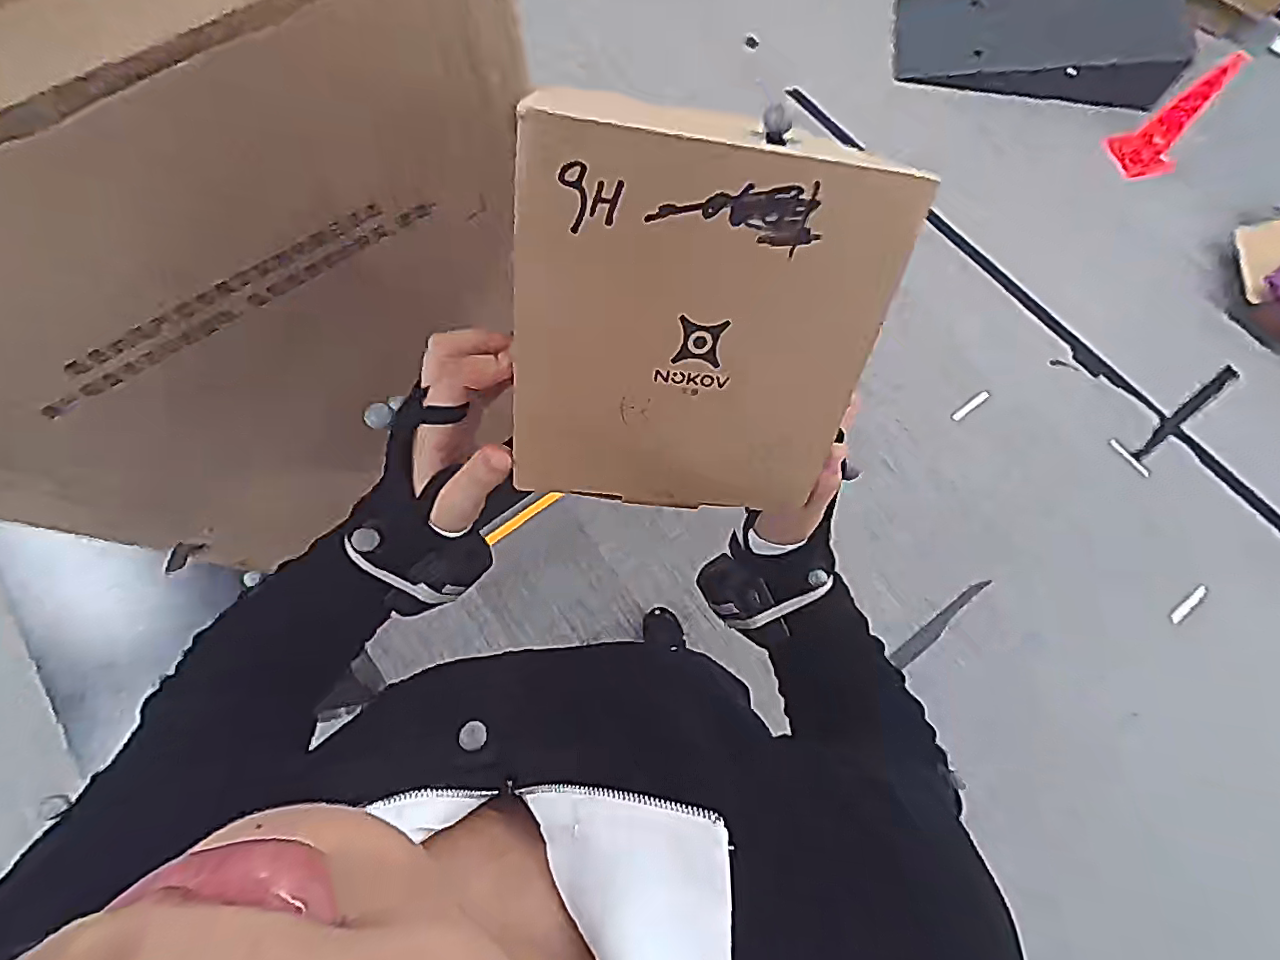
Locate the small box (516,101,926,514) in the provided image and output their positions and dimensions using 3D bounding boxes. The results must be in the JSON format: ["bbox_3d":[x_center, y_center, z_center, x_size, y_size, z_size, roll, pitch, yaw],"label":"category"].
[{"bbox_3d":[0.022,-0.104,0.323,0.168,0.179,0.176,5,37,-8],"label":"small box"}]
